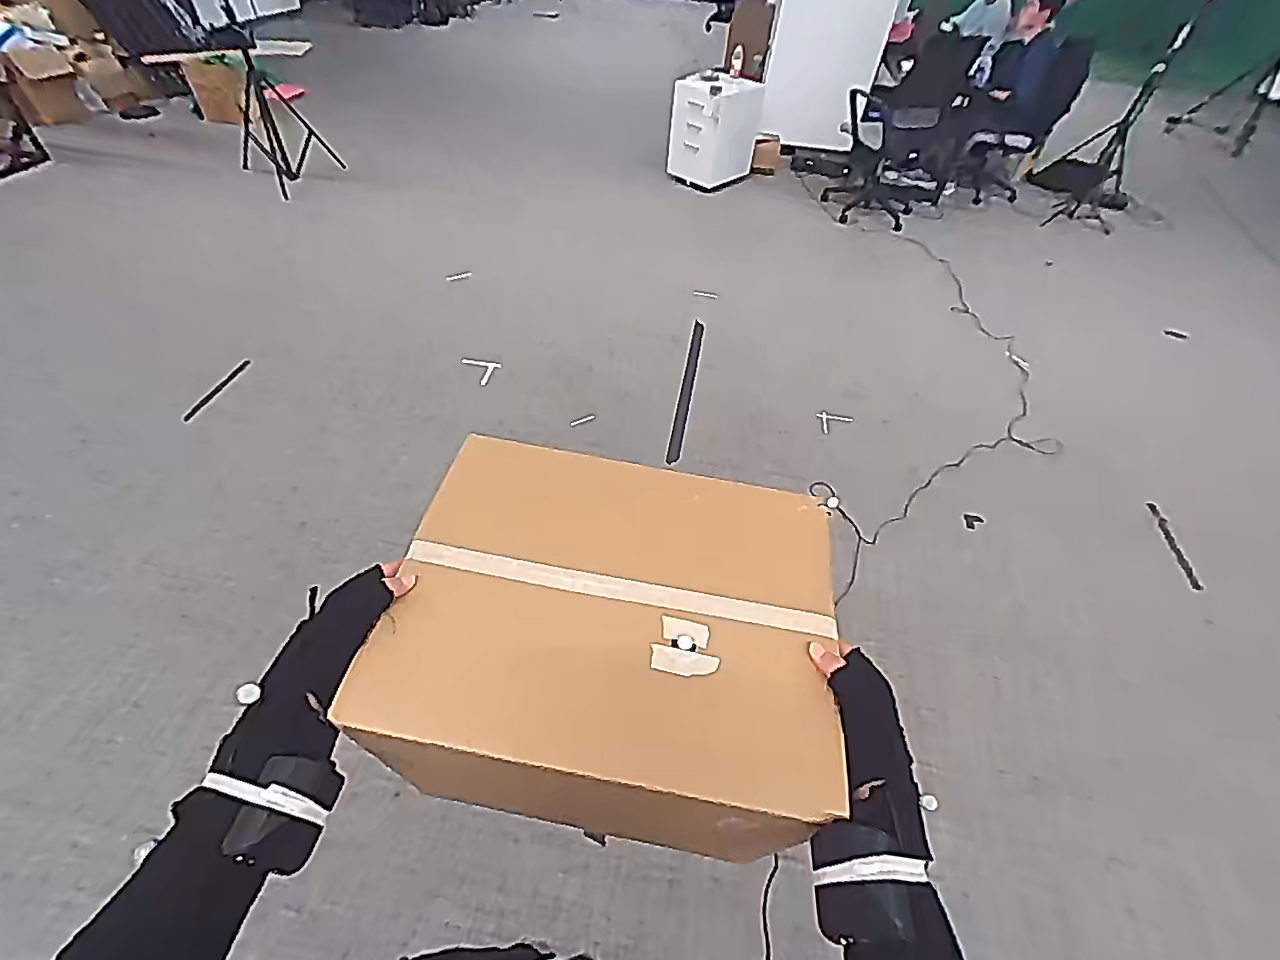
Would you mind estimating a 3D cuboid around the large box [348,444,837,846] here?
[{"bbox_3d":[-0.034,0.199,0.633,0.408,0.320,0.320,11,52,2],"label":"large box"}]
